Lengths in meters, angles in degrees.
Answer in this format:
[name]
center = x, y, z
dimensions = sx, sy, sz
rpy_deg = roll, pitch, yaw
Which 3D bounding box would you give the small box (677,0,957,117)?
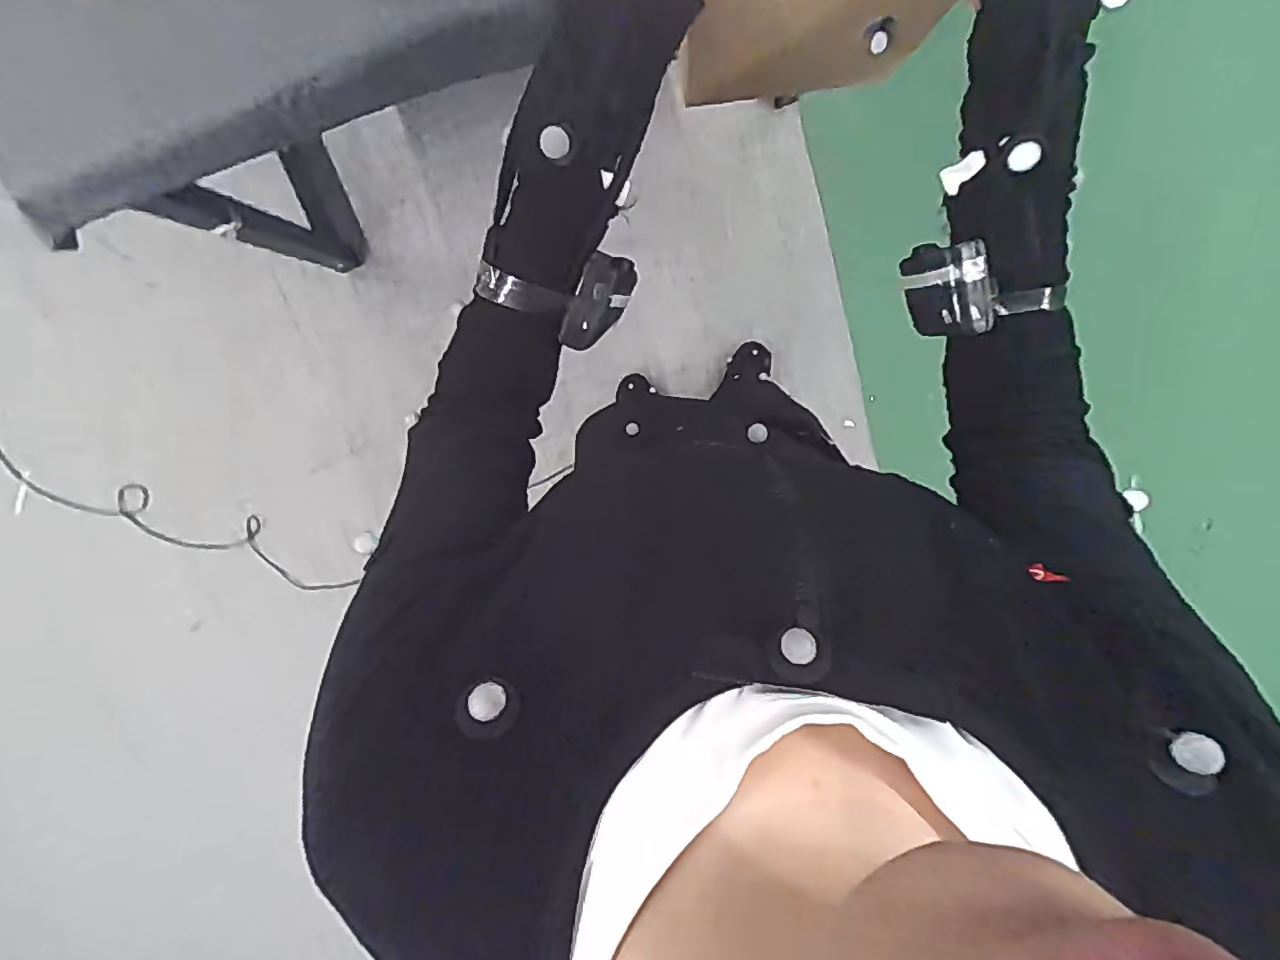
[small box]
center = 0.114, -0.381, 0.366
dimensions = 0.179, 0.176, 0.168
rpy_deg = -5, 101, 5
